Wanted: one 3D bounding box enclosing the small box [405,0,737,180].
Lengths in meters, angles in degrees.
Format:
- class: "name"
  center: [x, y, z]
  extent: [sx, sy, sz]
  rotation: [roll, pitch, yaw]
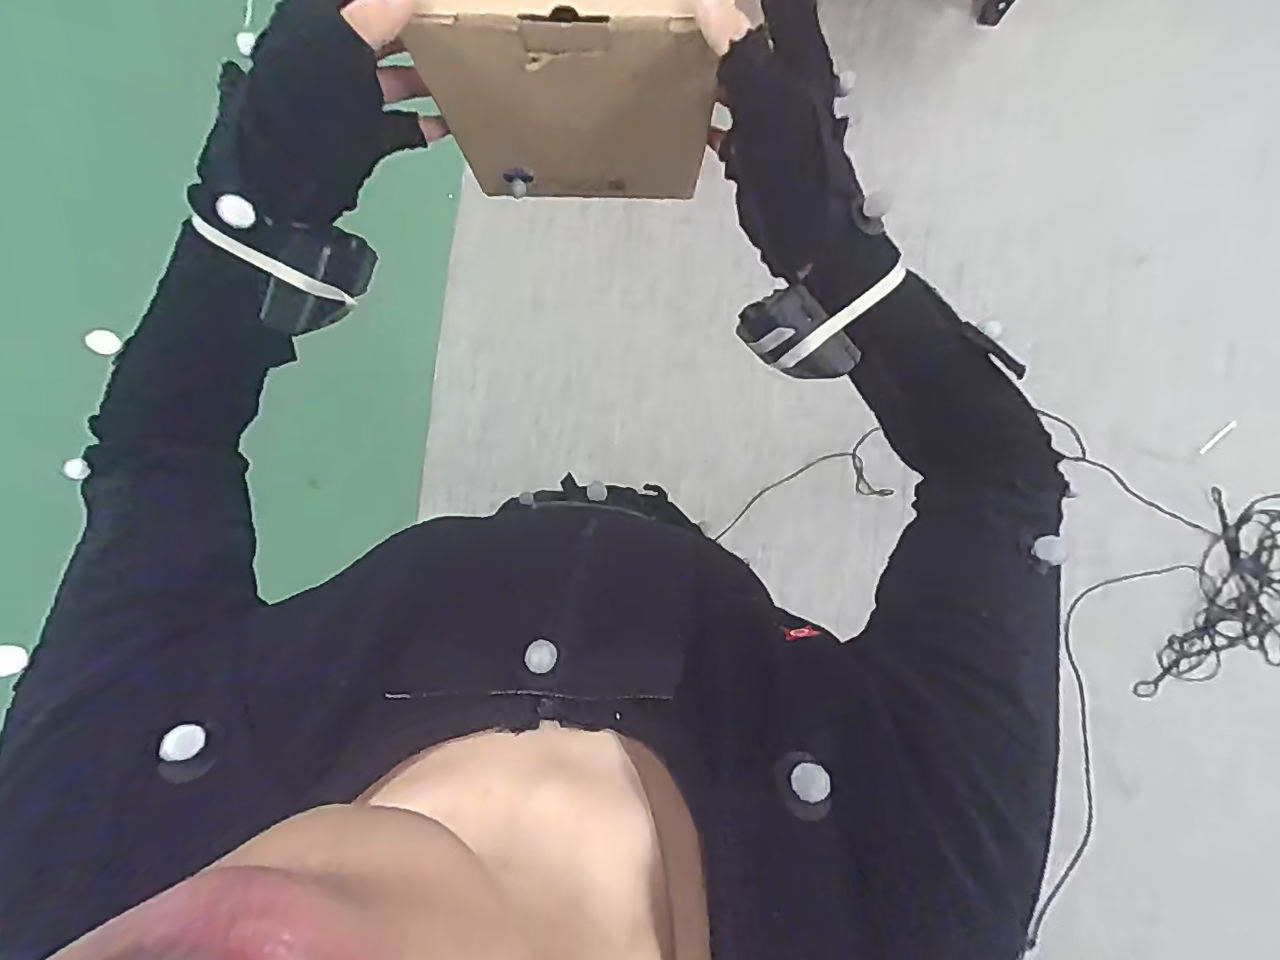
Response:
- class: "small box"
  center: [-0.032, -0.314, 0.334]
  extent: [0.168, 0.176, 0.179]
  rotation: [1, 89, -1]
